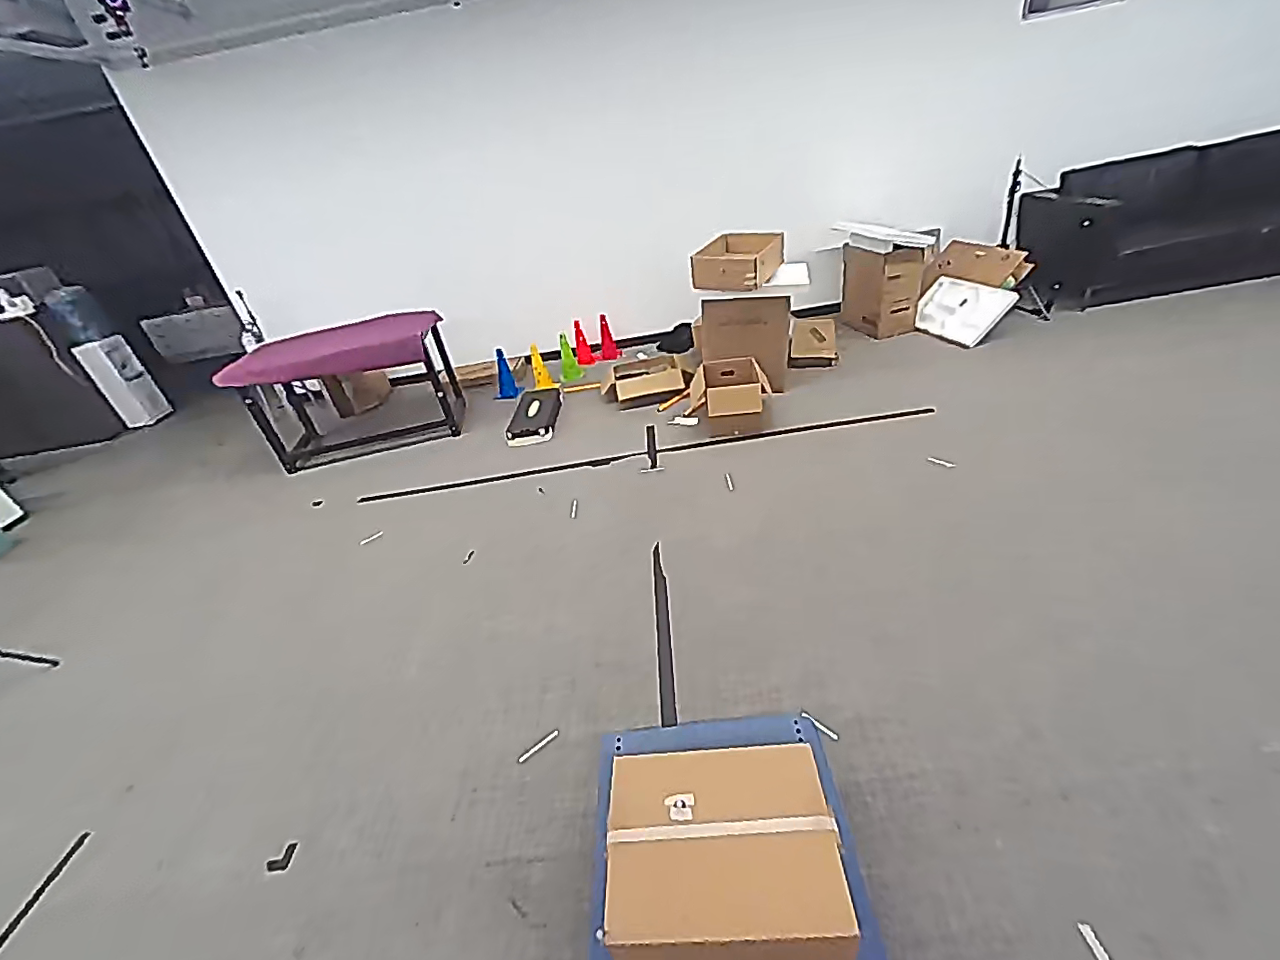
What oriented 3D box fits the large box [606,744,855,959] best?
[{"bbox_3d":[0.167,0.767,1.060,0.408,0.320,0.320,-9,31,6],"label":"large box"}]
